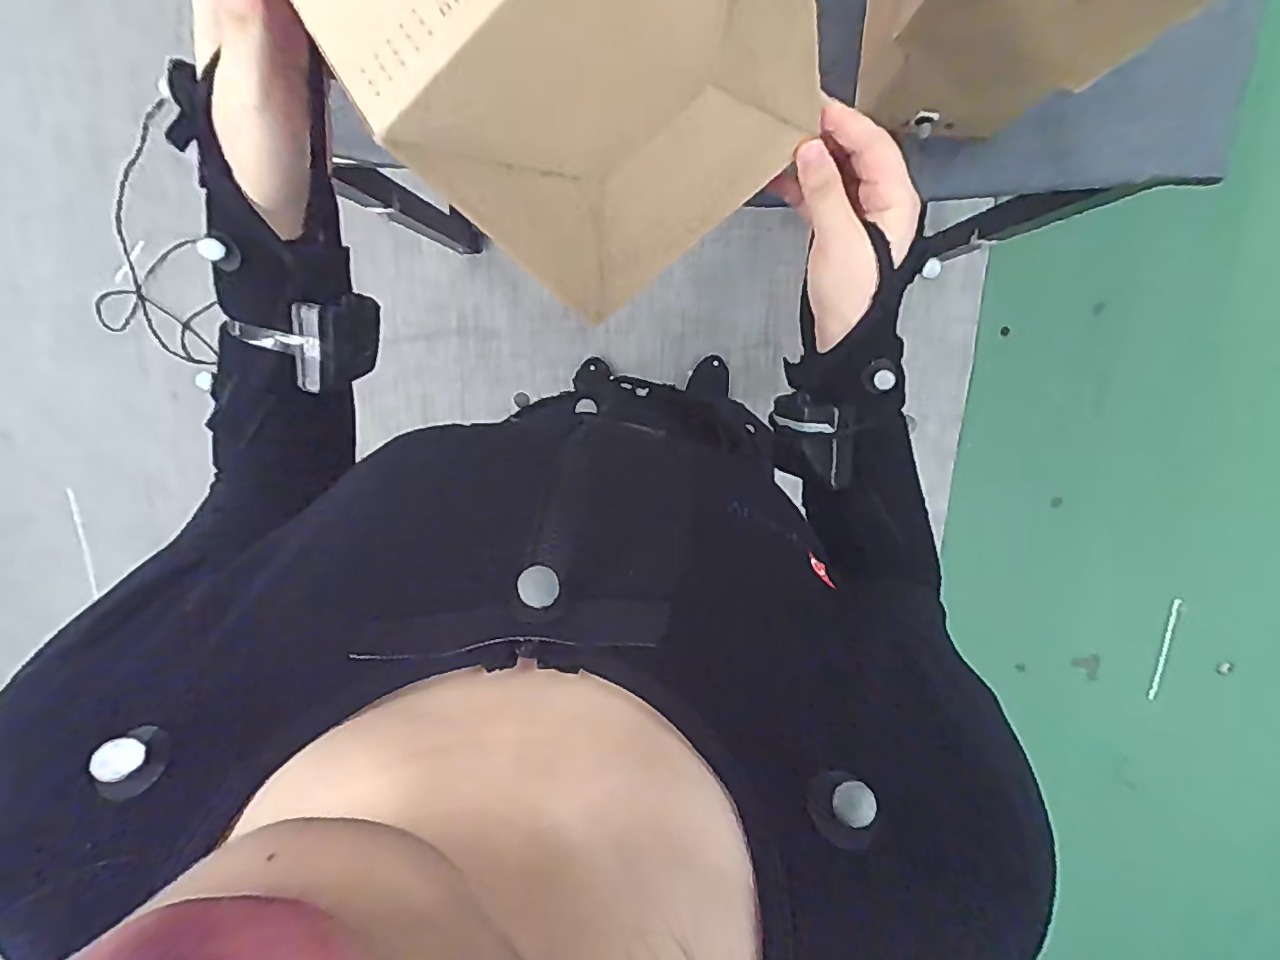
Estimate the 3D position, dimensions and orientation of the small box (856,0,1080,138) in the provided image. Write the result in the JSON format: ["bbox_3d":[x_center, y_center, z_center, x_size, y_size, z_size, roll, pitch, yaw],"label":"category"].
[{"bbox_3d":[0.331,-0.474,0.537,0.168,0.176,0.179,4,103,3],"label":"small box"}]

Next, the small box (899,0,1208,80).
[{"bbox_3d":[0.322,-0.425,0.382,0.179,0.176,0.168,14,102,1],"label":"small box"}]
